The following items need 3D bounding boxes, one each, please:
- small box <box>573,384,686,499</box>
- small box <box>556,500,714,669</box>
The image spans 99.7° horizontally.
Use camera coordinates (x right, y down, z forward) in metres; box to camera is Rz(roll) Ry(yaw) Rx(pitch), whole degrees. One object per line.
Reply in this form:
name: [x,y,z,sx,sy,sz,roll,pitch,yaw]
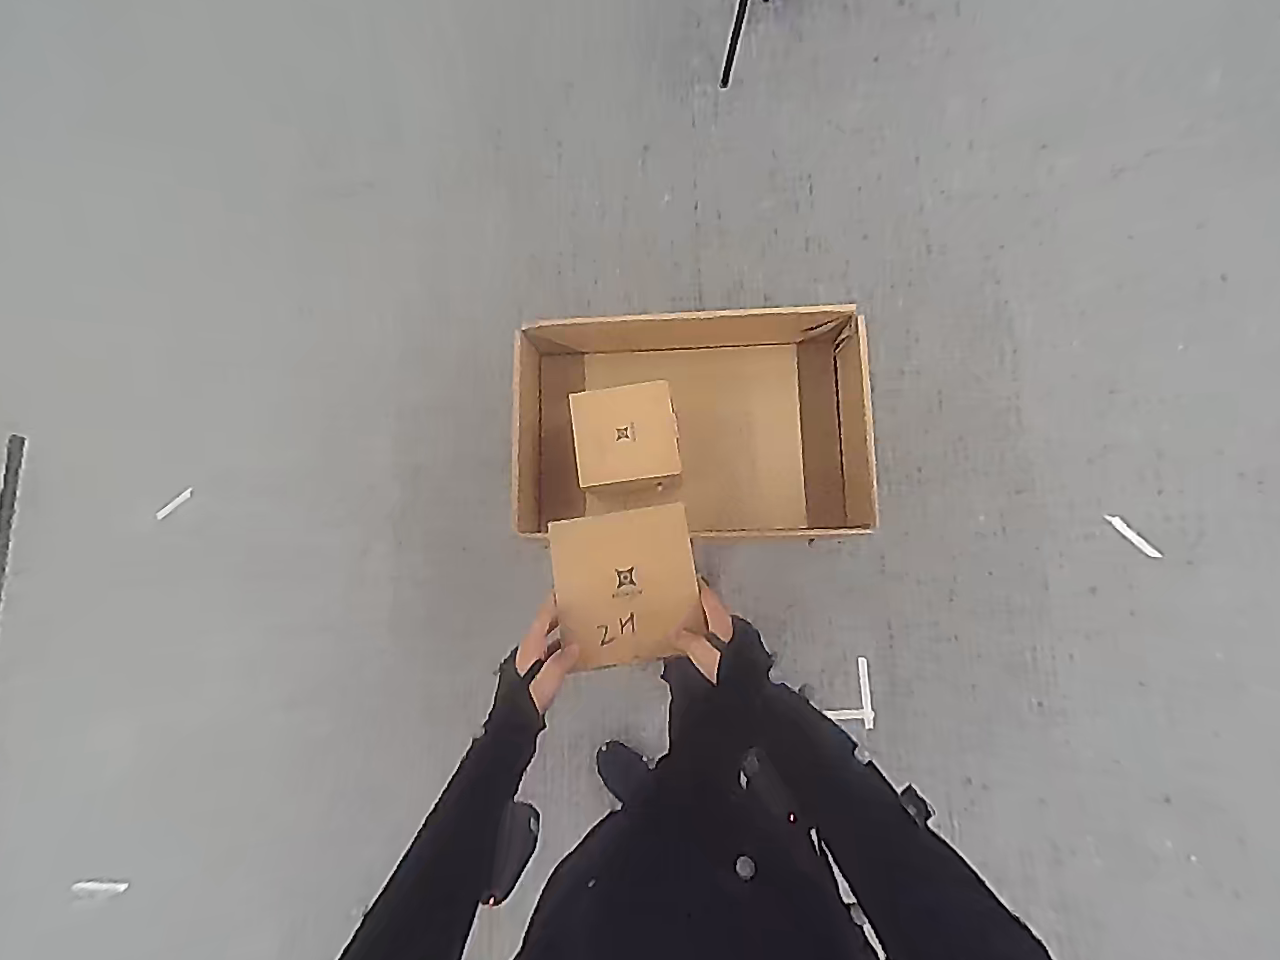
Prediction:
small box: [-0.015,-0.062,0.982,0.179,0.176,0.168,-8,81,3]
small box: [-0.006,0.138,0.700,0.168,0.176,0.179,-9,76,1]
